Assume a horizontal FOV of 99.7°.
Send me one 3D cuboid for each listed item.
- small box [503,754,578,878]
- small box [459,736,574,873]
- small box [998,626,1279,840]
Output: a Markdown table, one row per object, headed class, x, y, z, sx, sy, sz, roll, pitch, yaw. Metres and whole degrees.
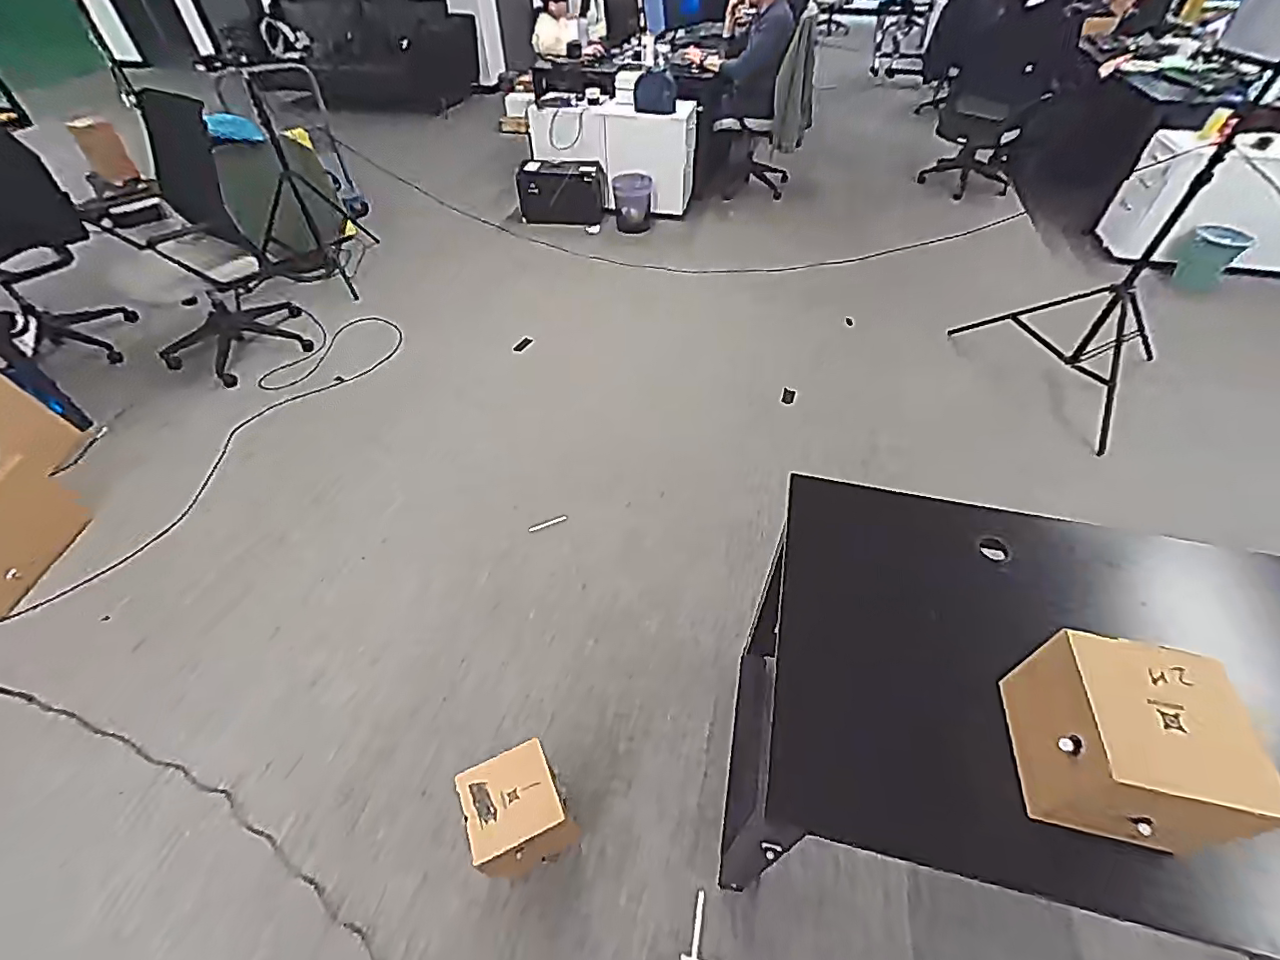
| class | x | y | z | sx | sy | sz | roll | pitch | yaw |
| --- | --- | --- | --- | --- | --- | --- | --- | --- | --- |
| small box | -0.249 | 0.768 | 1.236 | 0.179 | 0.176 | 0.168 | -20 | 50 | -18 |
| small box | -0.247 | 0.666 | 1.105 | 0.179 | 0.176 | 0.168 | -20 | 50 | -17 |
| small box | 0.575 | 0.310 | 0.659 | 0.168 | 0.176 | 0.179 | 10 | 47 | 9 |
